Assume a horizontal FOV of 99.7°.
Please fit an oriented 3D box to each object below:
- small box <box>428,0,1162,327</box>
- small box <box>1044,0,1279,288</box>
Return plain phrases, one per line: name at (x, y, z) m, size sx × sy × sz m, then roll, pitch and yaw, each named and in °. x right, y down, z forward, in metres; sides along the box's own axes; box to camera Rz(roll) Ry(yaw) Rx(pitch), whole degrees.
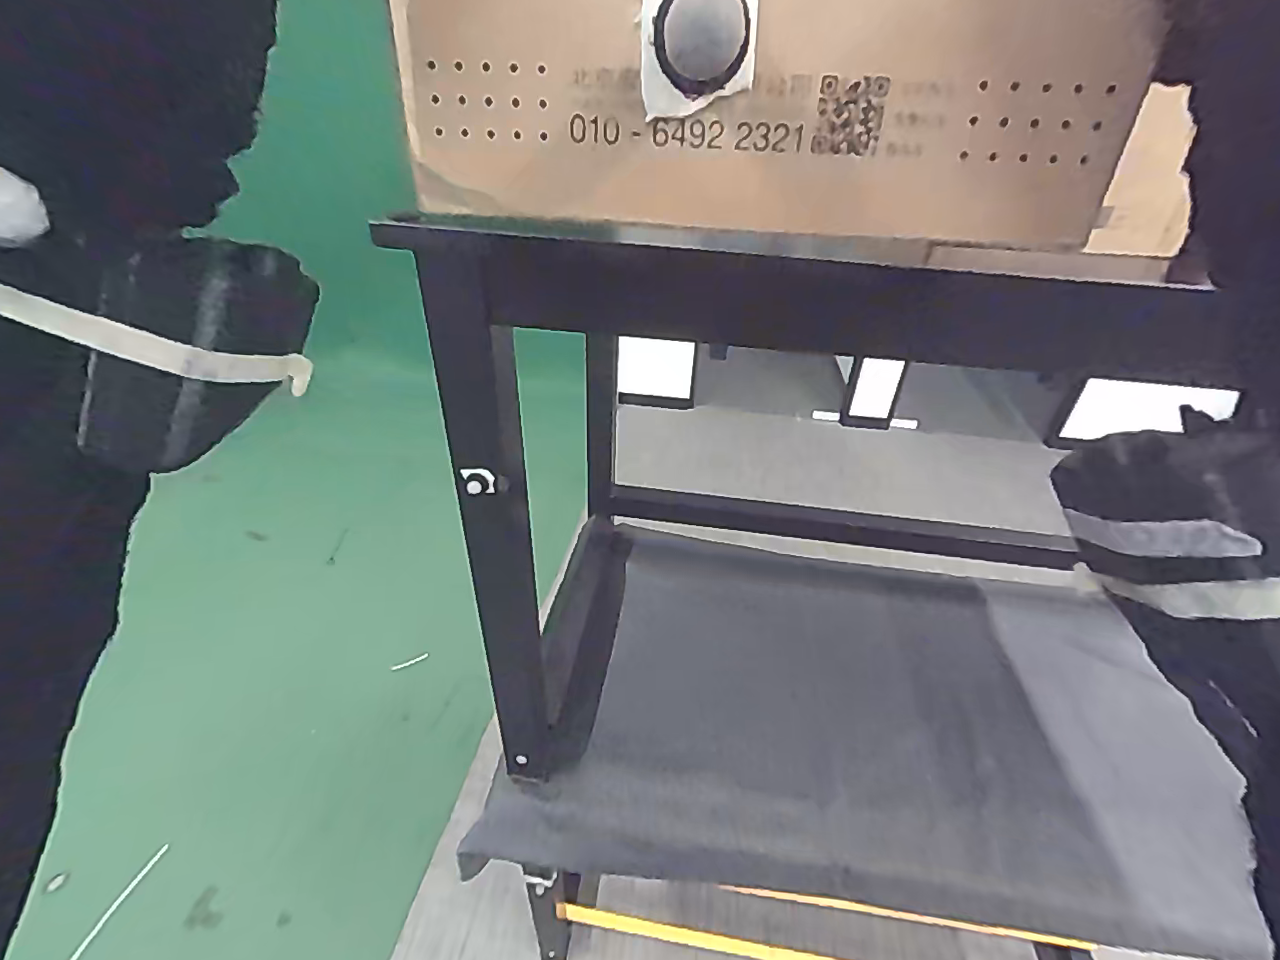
small box at (0.035, -0.158, 0.181) m, size 0.168 × 0.176 × 0.179 m, roll 4°, pitch 29°, yaw 4°
small box at (0.305, -0.263, 0.424) m, size 0.168 × 0.176 × 0.179 m, roll 6°, pitch 34°, yaw 4°
